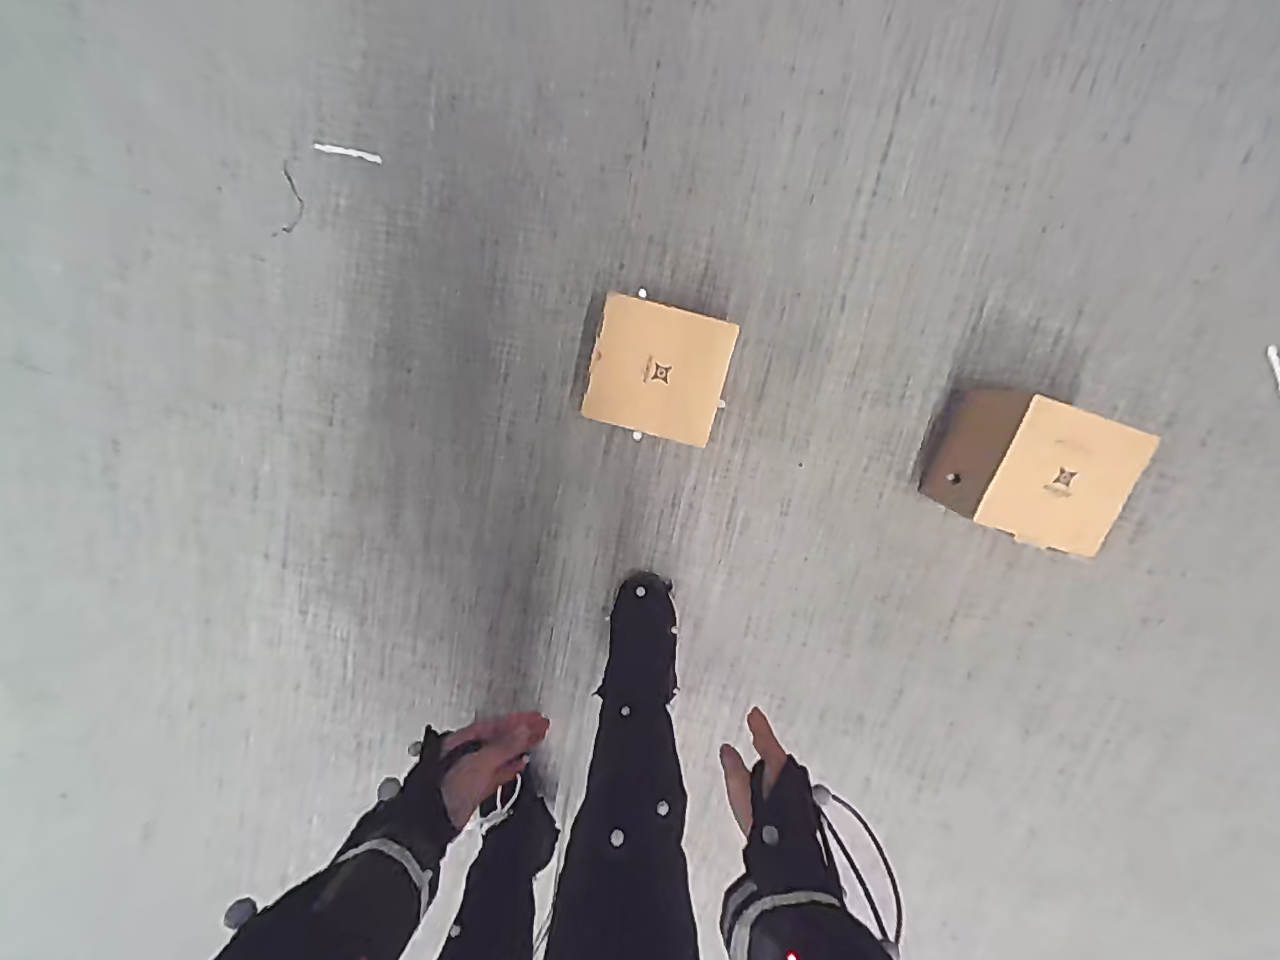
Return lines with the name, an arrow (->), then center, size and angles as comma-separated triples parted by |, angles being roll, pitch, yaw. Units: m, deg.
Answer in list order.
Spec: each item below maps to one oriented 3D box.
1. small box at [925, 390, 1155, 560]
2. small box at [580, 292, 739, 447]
small box -> 0.534, -0.017, 0.757 | 0.168, 0.176, 0.179 | 19, 102, 0
small box -> 0.030, -0.158, 0.775 | 0.179, 0.176, 0.168 | 15, 103, 3
